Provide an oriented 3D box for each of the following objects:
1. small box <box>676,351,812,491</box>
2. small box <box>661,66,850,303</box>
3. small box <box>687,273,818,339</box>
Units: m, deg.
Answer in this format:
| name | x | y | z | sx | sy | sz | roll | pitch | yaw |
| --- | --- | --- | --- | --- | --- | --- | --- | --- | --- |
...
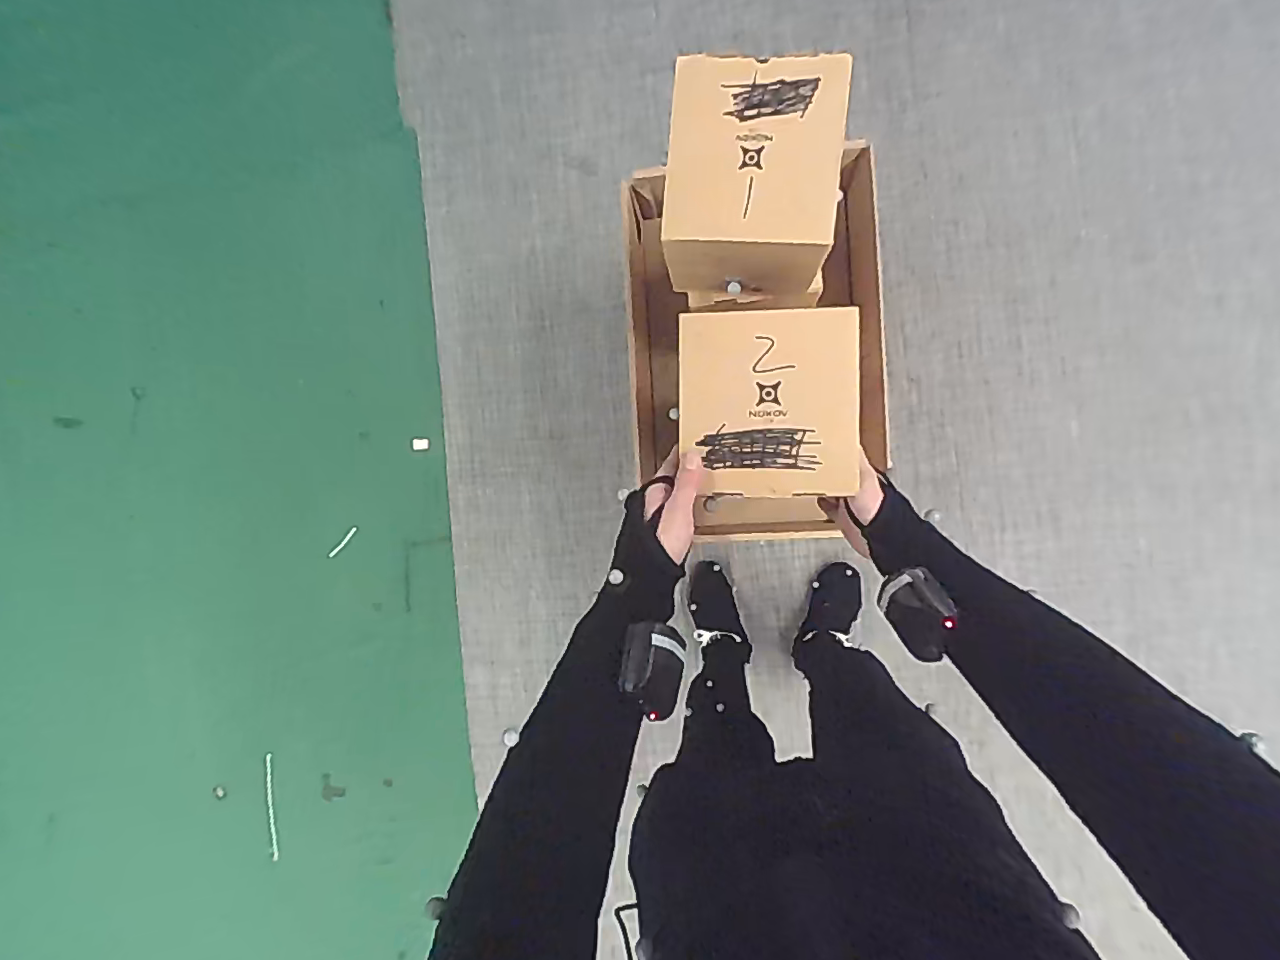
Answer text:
| name | x | y | z | sx | sy | sz | roll | pitch | yaw |
| --- | --- | --- | --- | --- | --- | --- | --- | --- | --- |
| small box | 0.141 | -0.074 | 0.757 | 0.168 | 0.176 | 0.179 | 1 | 89 | 8 |
| small box | 0.119 | -0.312 | 0.599 | 0.168 | 0.176 | 0.179 | 6 | 93 | 8 |
| small box | 0.147 | -0.311 | 0.761 | 0.168 | 0.176 | 0.179 | -4 | 91 | 8 |
